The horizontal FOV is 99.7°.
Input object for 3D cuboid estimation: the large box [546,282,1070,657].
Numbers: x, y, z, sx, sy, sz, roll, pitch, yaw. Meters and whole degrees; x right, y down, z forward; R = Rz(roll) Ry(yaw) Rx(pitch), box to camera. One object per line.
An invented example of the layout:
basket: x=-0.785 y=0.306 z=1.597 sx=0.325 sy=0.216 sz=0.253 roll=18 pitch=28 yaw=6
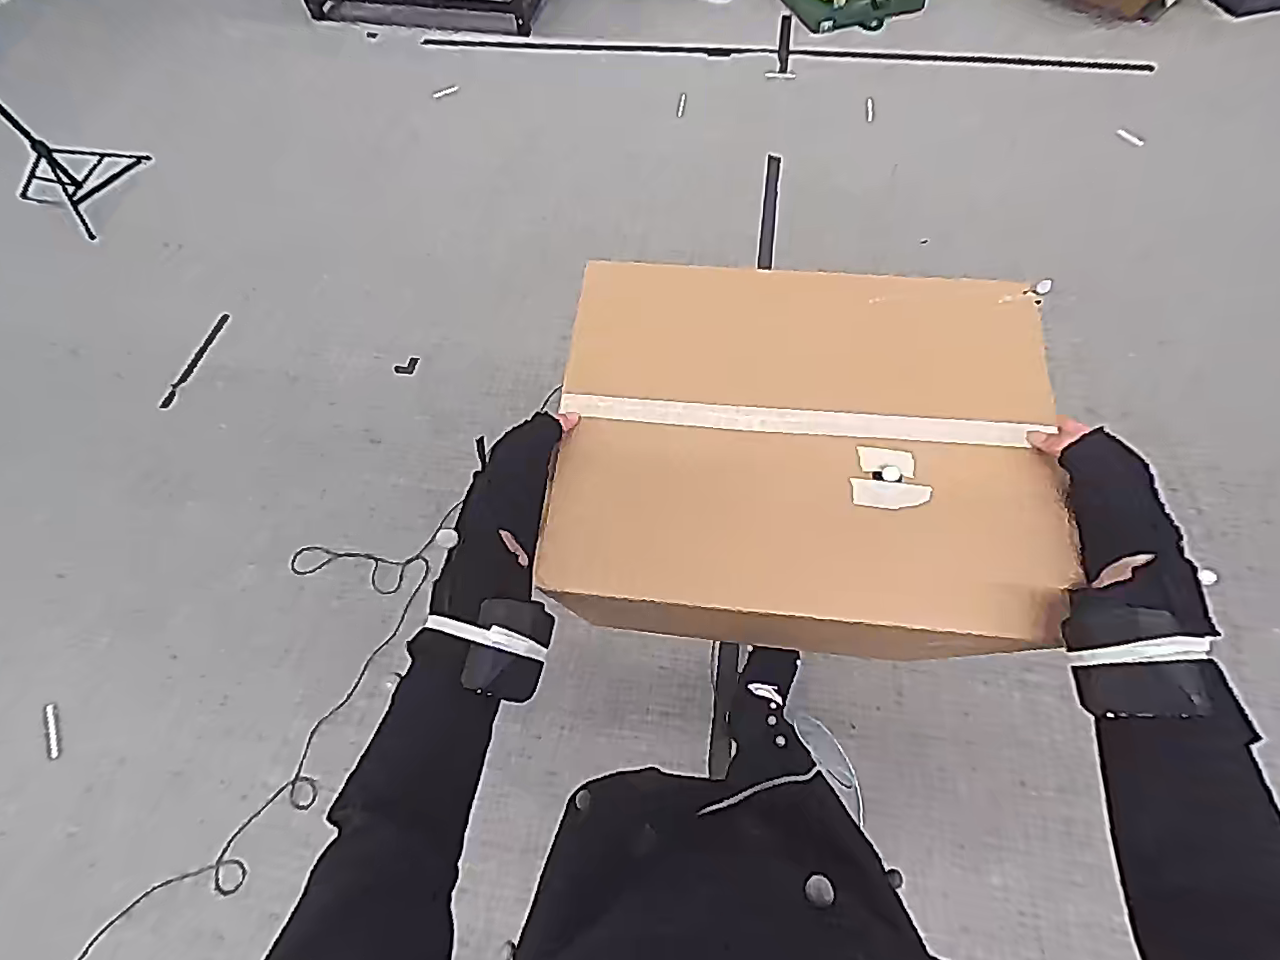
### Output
large box: x=0.138 y=0.014 z=0.600 sx=0.408 sy=0.320 sz=0.320 roll=5 pitch=71 yaw=4
